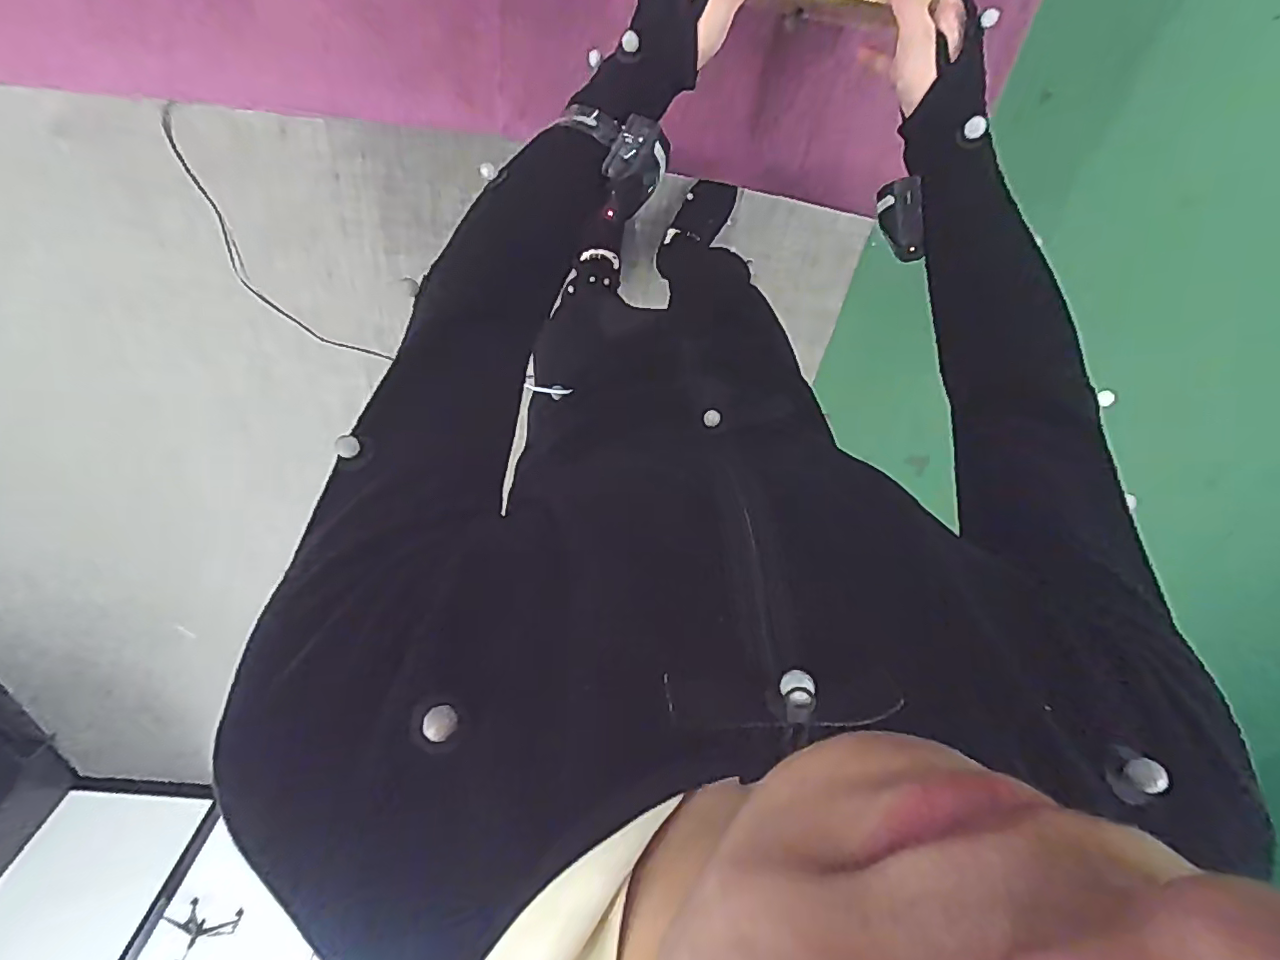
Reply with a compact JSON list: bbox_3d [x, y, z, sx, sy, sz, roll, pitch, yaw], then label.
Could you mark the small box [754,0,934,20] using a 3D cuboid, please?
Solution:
[{"bbox_3d":[0.163,-0.503,0.446,0.179,0.176,0.168,7,127,-5],"label":"small box"}]
